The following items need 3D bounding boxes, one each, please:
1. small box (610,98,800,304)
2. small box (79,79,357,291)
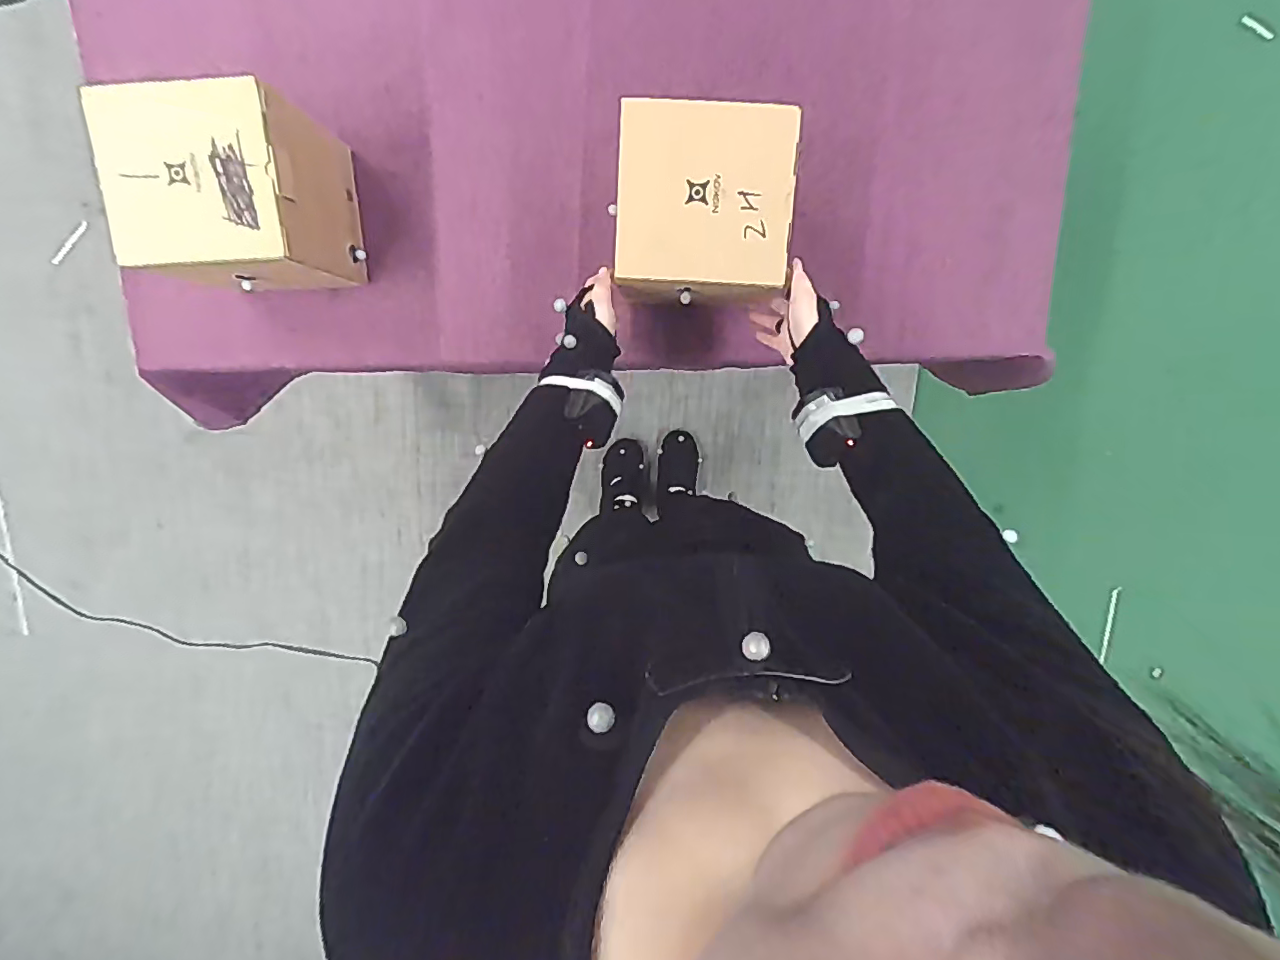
[{"bbox_3d":[0.064,-0.294,0.606,0.179,0.176,0.168,3,102,0],"label":"small box"},{"bbox_3d":[-0.444,-0.313,0.607,0.179,0.176,0.168,-3,100,2],"label":"small box"}]
